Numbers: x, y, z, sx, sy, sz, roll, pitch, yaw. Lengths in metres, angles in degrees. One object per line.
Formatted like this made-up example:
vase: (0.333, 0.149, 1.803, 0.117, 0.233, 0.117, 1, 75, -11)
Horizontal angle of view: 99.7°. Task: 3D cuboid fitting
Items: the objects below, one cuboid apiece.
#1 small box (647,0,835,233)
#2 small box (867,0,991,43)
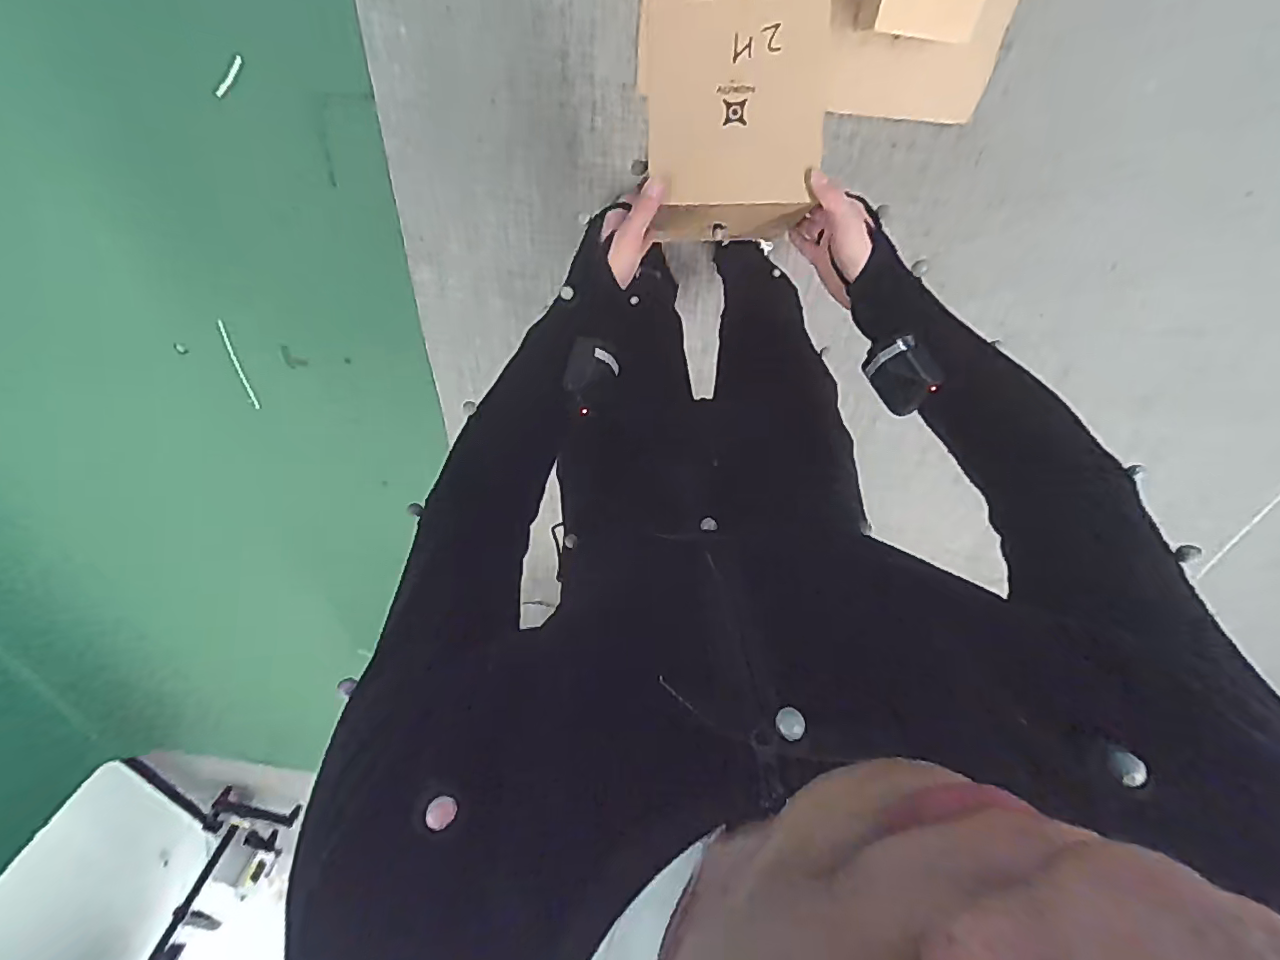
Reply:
small box: (0.093, -0.371, 0.575, 0.168, 0.176, 0.179, 0, 102, 1)
small box: (0.499, -0.858, 0.909, 0.168, 0.176, 0.179, 10, 129, 2)
